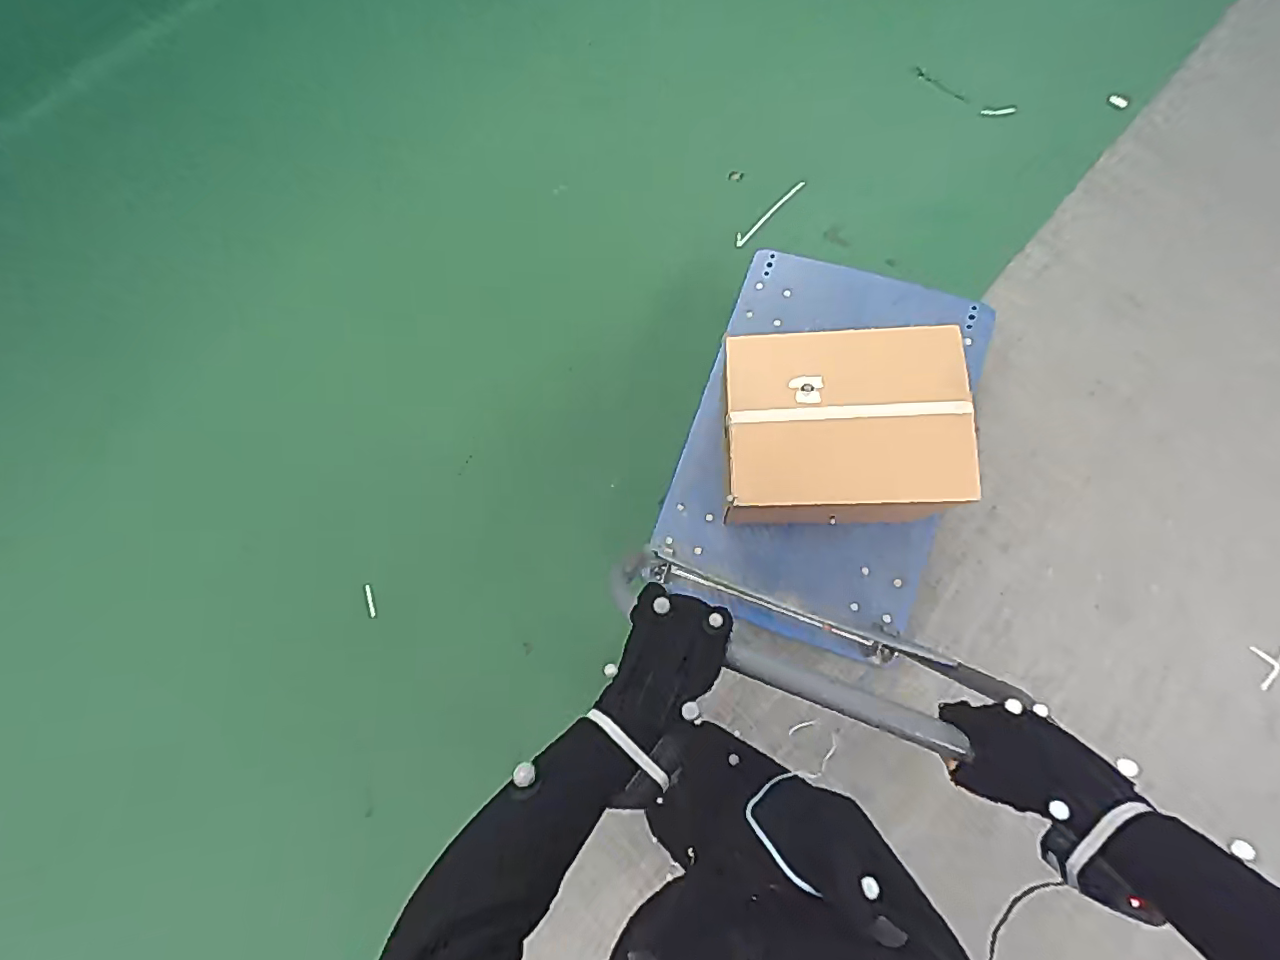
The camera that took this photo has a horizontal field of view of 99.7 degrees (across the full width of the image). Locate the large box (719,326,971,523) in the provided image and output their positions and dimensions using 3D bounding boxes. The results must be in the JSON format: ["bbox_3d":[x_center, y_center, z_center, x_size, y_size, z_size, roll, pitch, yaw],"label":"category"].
[{"bbox_3d":[0.370,-0.085,1.090,0.408,0.320,0.320,-2,78,7],"label":"large box"}]
